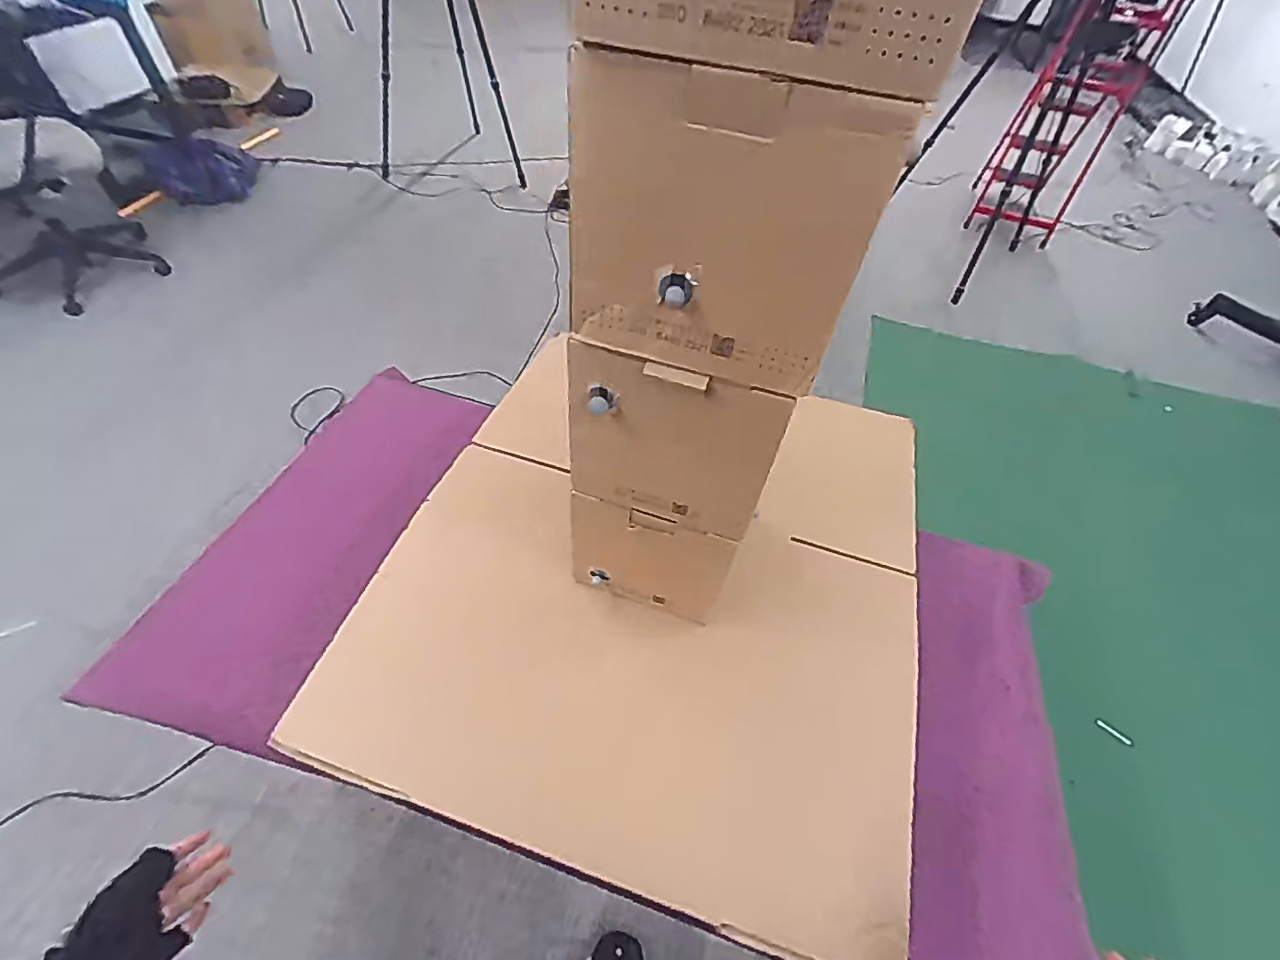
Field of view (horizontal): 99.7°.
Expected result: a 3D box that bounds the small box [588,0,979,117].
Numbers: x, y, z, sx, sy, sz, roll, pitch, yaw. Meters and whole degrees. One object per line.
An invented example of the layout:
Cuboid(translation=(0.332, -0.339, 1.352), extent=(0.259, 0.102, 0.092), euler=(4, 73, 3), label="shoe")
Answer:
Cuboid(translation=(0.077, -0.289, 0.235), extent=(0.168, 0.176, 0.179), euler=(14, 50, 7), label="small box")

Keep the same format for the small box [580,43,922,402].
Cuboid(translation=(0.063, -0.183, 0.361), extent=(0.168, 0.176, 0.179), euler=(16, 50, 7), label="small box")

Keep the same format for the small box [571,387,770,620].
Cuboid(translation=(0.034, 0.030, 0.608), extent=(0.168, 0.176, 0.179), euler=(17, 50, 9), label="small box")
